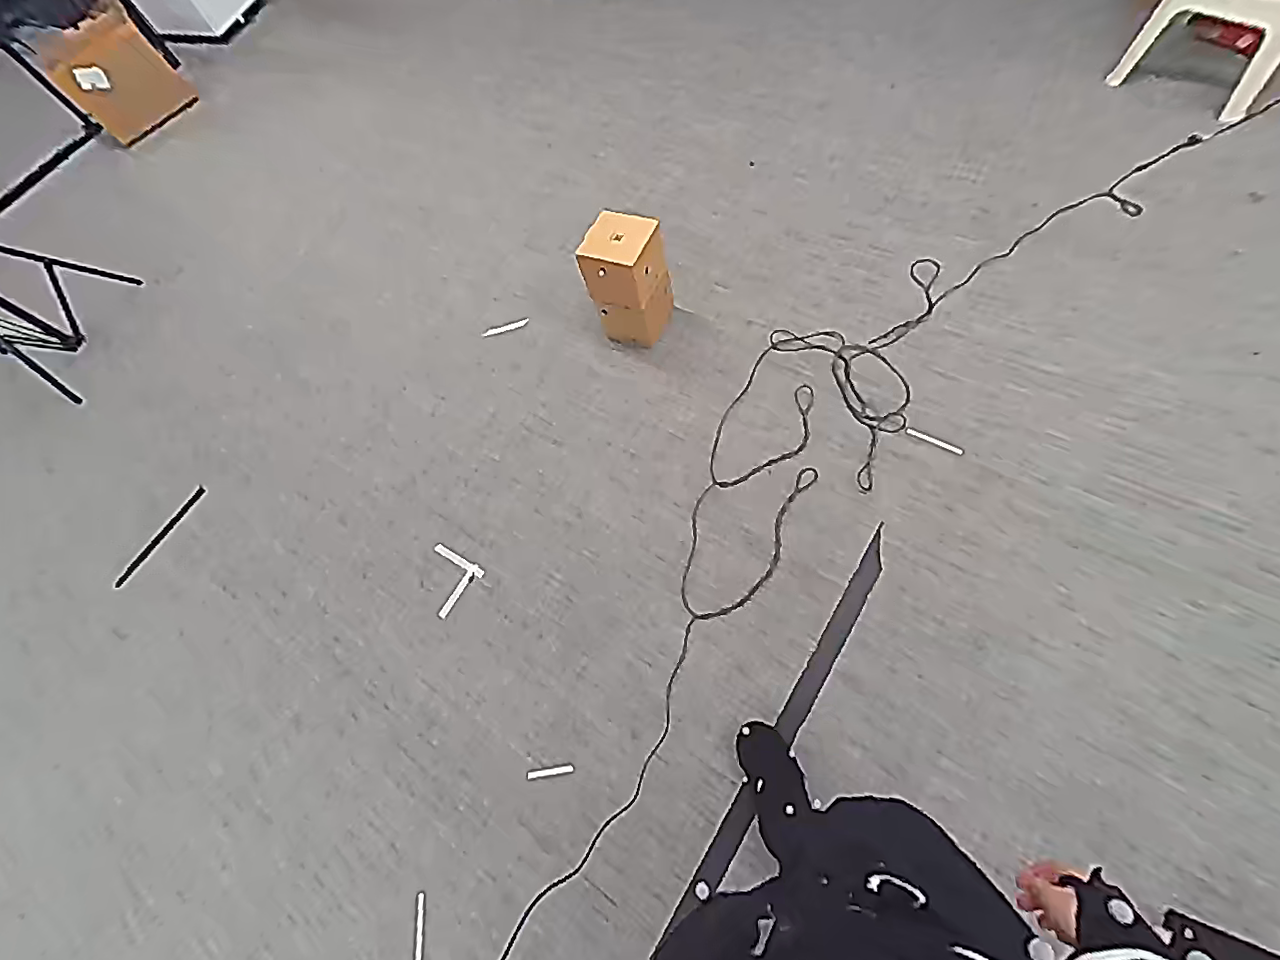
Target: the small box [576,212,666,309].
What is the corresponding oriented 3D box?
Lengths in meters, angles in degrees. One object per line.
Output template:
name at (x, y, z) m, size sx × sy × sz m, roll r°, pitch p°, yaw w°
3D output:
small box at (-0.042, -0.593, 1.475) m, size 0.179 × 0.176 × 0.168 m, roll 20°, pitch 71°, yaw 20°
